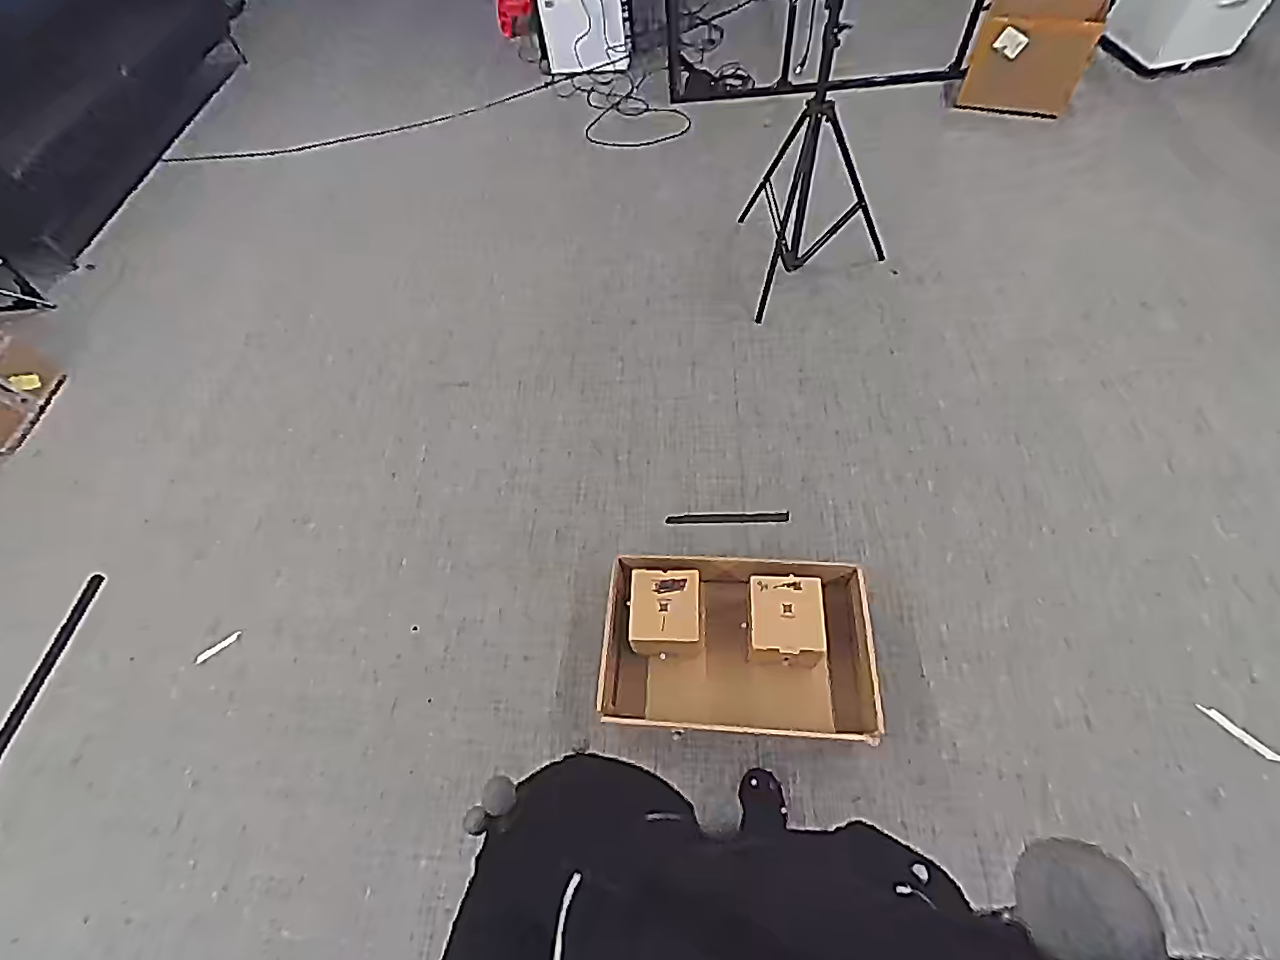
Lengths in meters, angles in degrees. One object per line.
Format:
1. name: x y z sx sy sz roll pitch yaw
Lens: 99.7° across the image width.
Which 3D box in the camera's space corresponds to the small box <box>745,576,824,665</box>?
1. small box: 0.346 0.346 1.315 0.168 0.176 0.179 1 61 8
